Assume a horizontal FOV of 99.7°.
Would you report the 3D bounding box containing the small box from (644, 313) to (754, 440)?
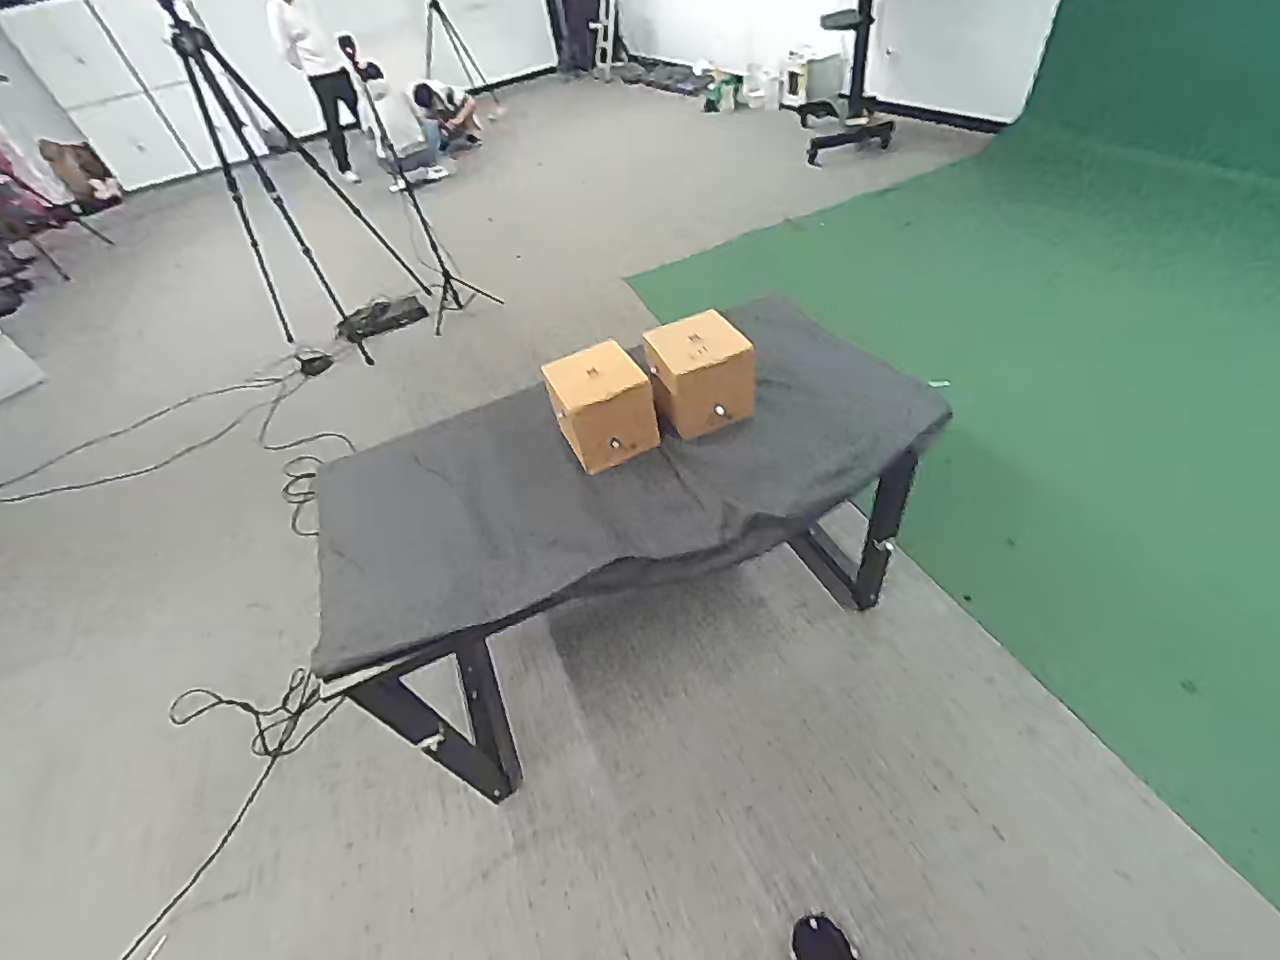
[{"bbox_3d":[0.122,-0.213,1.120,0.168,0.176,0.179,-21,46,-7],"label":"small box"}]
